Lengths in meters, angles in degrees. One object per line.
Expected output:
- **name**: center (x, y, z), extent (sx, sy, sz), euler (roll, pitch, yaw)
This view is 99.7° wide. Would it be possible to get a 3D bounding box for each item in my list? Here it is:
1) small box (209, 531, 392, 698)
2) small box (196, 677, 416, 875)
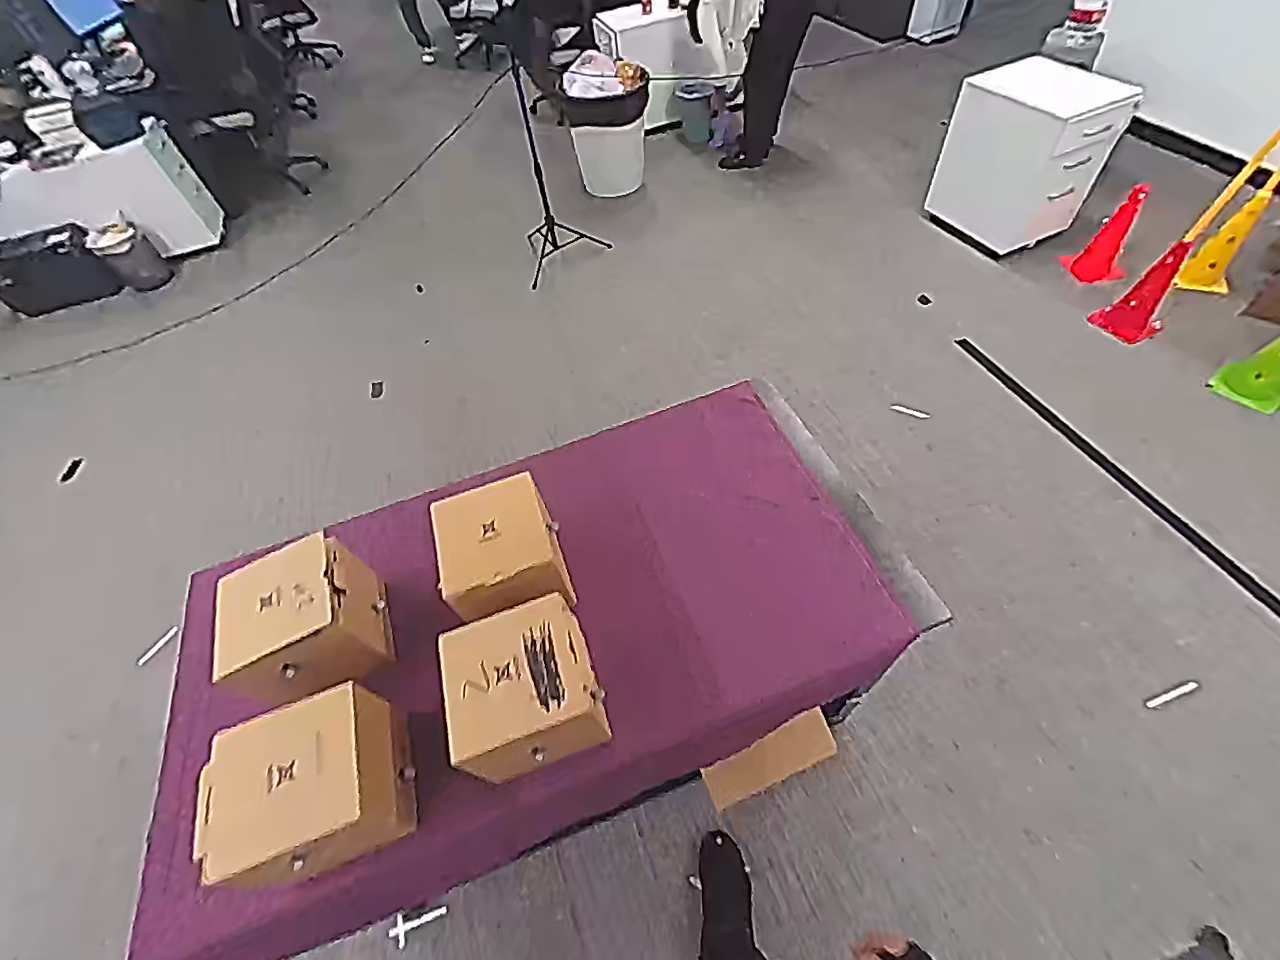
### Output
- **small box**: center (-0.516, 0.215, 0.841), extent (0.179, 0.176, 0.168), euler (-21, 55, -9)
- **small box**: center (-0.419, 0.389, 0.705), extent (0.179, 0.176, 0.168), euler (-20, 55, -9)
